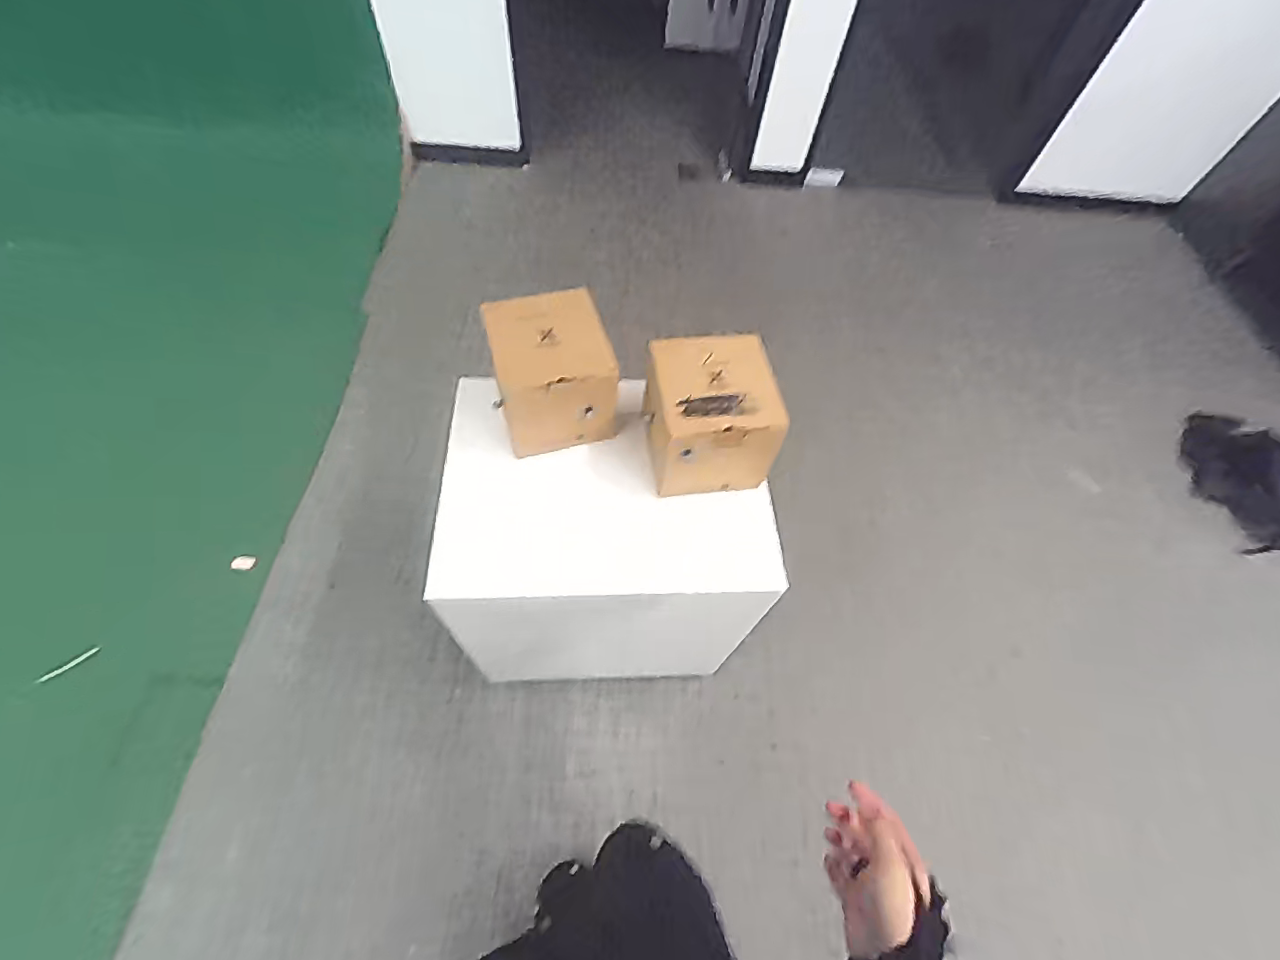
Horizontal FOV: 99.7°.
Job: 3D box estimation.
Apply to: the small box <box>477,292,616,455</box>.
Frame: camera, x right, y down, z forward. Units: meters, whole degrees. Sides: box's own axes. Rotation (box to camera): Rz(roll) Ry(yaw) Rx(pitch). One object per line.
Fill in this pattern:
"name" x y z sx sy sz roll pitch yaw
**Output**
"small box" -0.141 -0.156 0.837 0.168 0.176 0.179 -14 61 -15
